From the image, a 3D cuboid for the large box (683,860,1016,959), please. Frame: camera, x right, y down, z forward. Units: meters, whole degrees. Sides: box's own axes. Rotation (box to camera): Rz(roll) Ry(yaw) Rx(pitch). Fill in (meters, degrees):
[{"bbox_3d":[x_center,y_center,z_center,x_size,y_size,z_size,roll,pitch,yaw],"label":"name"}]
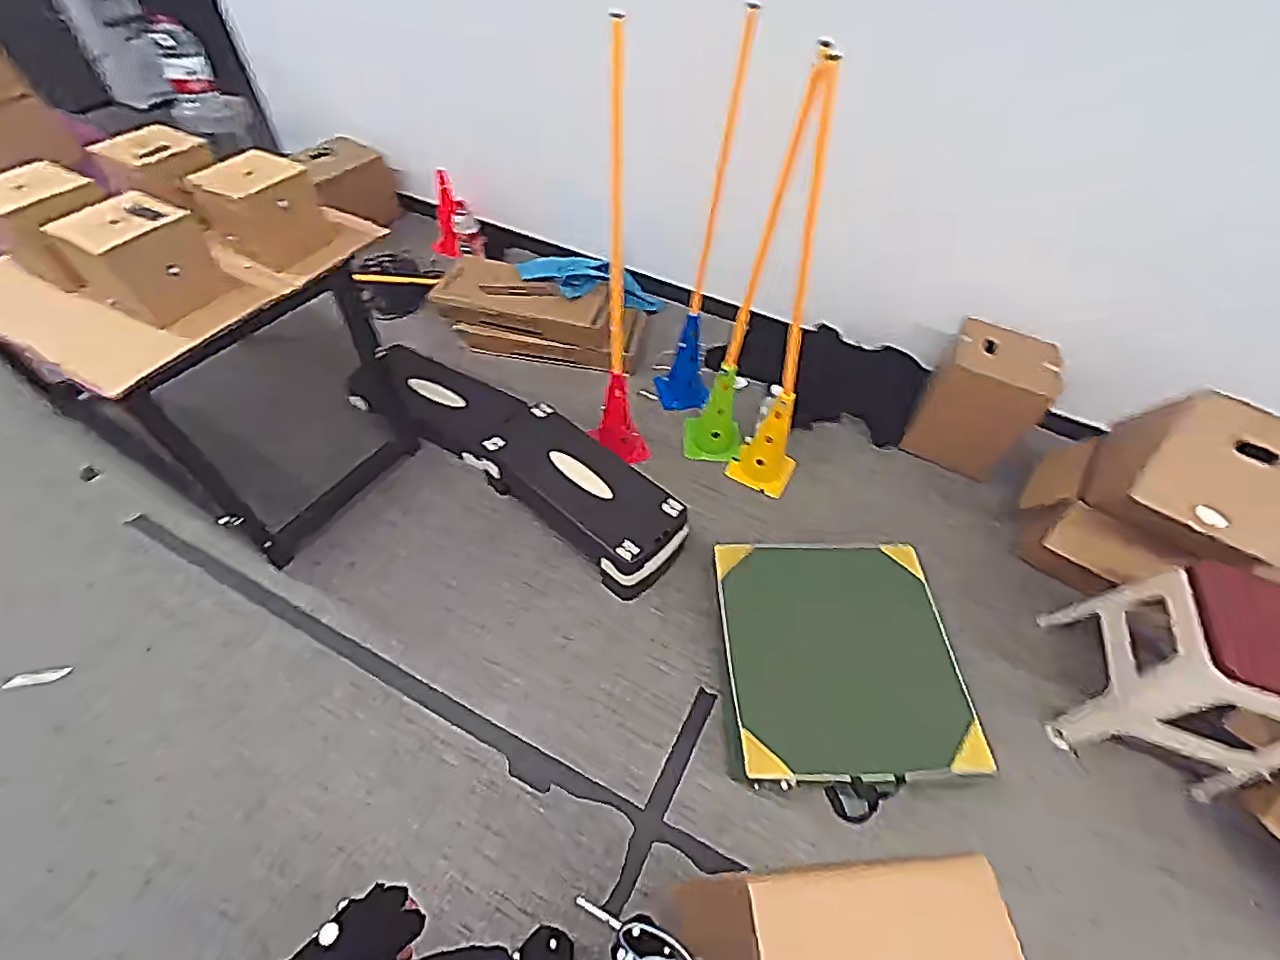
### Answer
[{"bbox_3d":[0.259,0.707,0.707,0.320,0.408,0.320,2,53,-7],"label":"large box"}]
